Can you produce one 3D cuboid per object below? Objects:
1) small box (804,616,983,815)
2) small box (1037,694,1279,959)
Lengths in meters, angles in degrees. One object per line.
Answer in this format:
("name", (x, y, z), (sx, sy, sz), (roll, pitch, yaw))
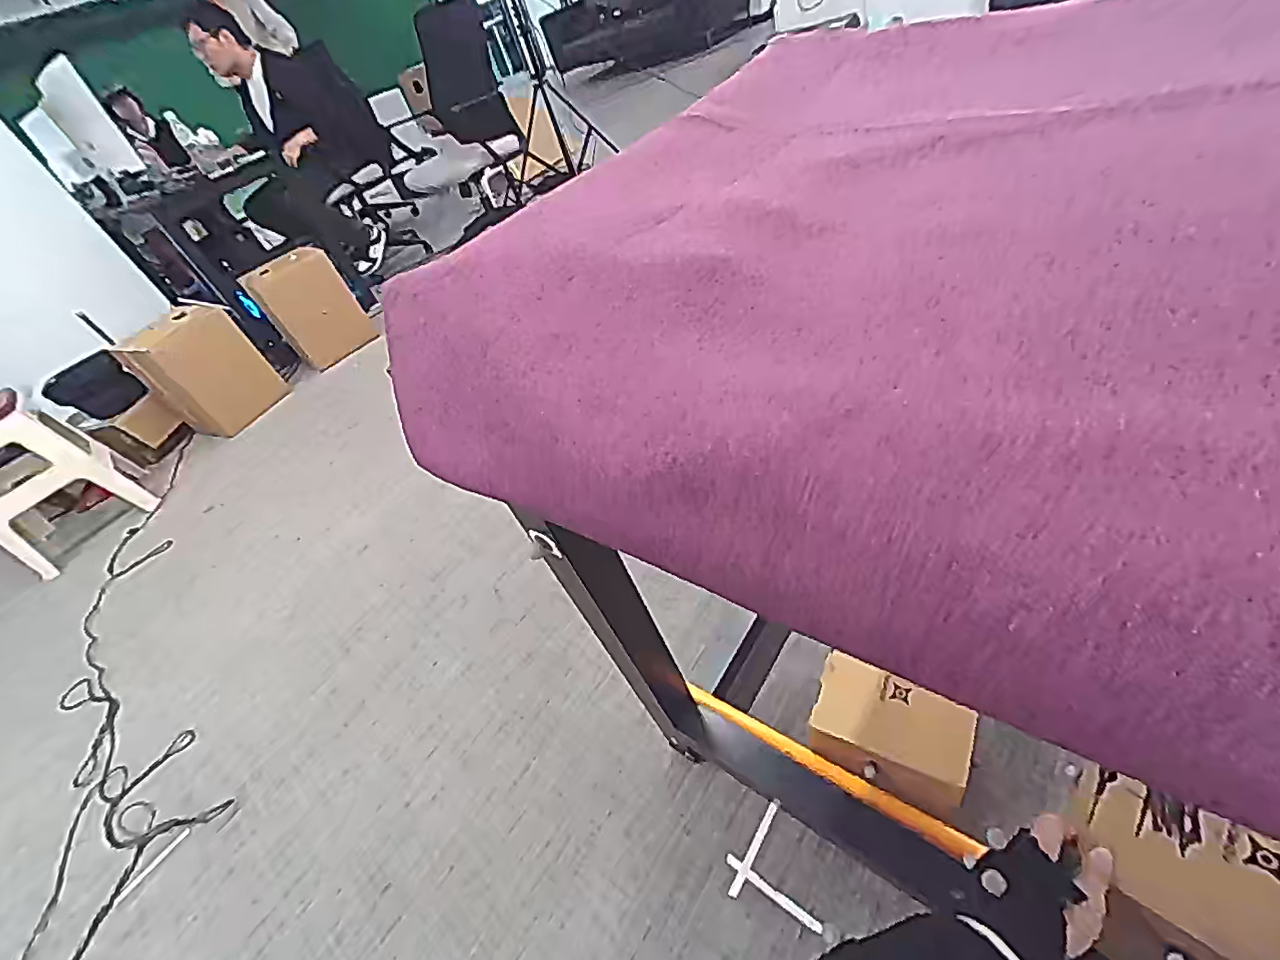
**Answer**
("small box", (0.337, 0.317, 0.725), (0.179, 0.176, 0.168), (11, 51, 32))
("small box", (0.470, 0.326, 0.451), (0.179, 0.176, 0.168), (25, 58, 39))
